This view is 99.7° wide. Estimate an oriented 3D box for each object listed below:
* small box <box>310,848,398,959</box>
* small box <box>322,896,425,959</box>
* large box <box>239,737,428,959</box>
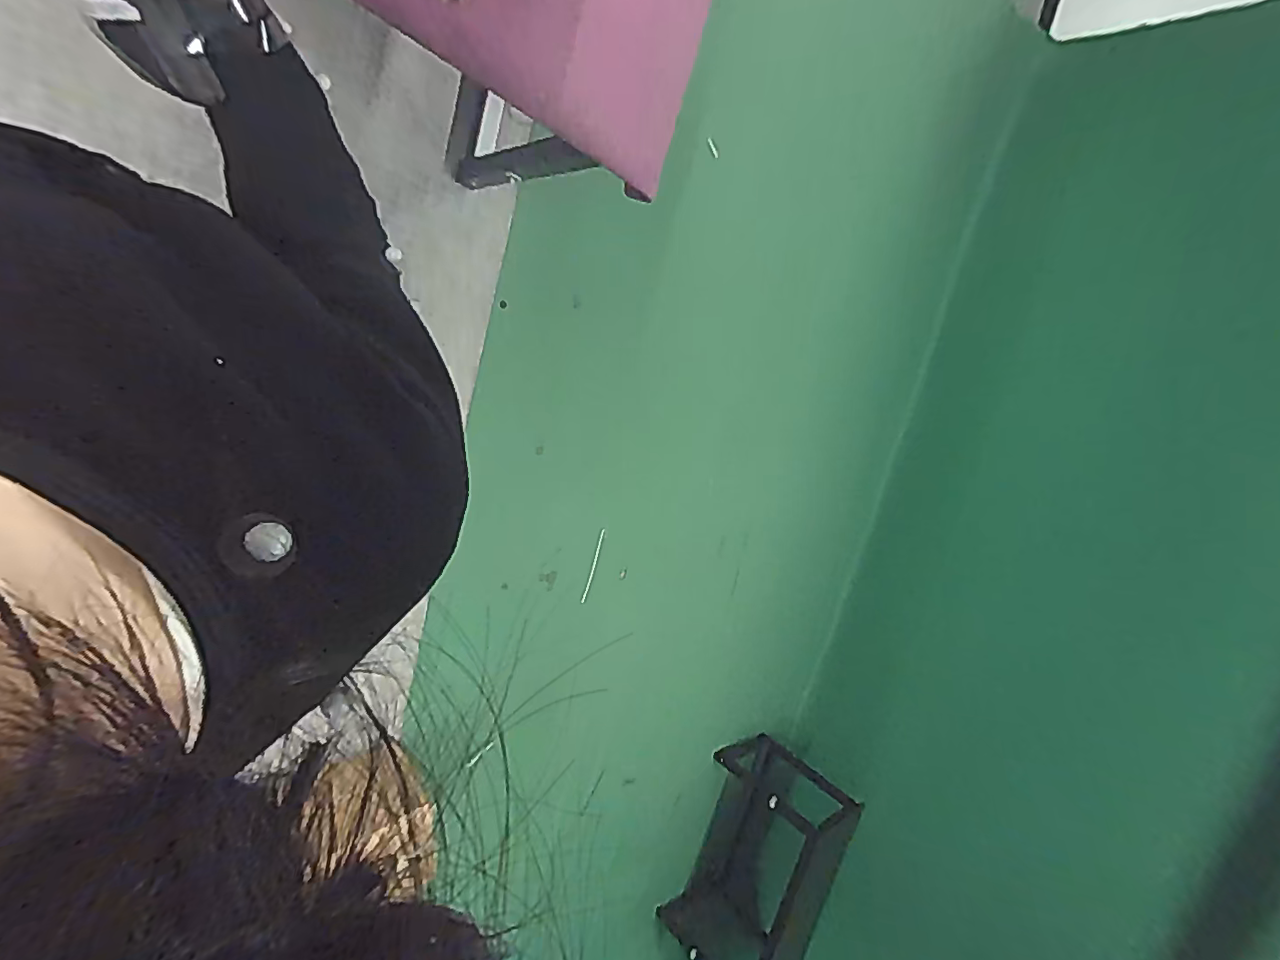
[{"bbox_3d":[-0.742,1.101,1.398,0.168,0.176,0.179,-5,110,-43],"label":"small box"},{"bbox_3d":[-0.637,1.155,1.286,0.179,0.176,0.168,-3,109,-43],"label":"small box"},{"bbox_3d":[-0.890,1.055,1.592,0.408,0.320,0.320,-13,117,-42],"label":"large box"}]
